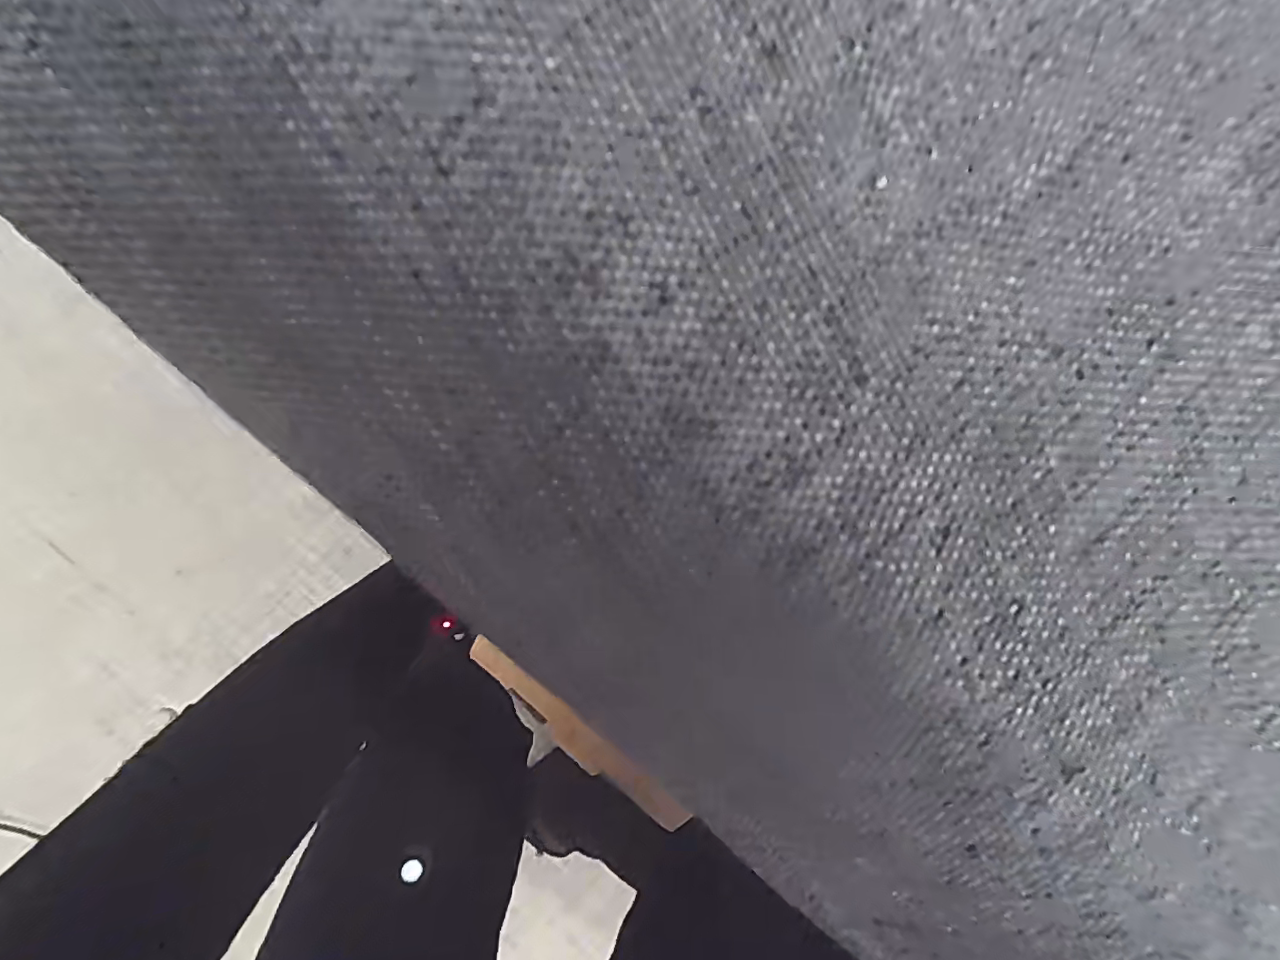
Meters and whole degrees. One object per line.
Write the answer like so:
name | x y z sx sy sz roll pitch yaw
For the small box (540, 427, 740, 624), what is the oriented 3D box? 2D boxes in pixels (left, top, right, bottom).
small box | -0.005 0.044 0.697 0.179 0.176 0.168 -42 97 3
